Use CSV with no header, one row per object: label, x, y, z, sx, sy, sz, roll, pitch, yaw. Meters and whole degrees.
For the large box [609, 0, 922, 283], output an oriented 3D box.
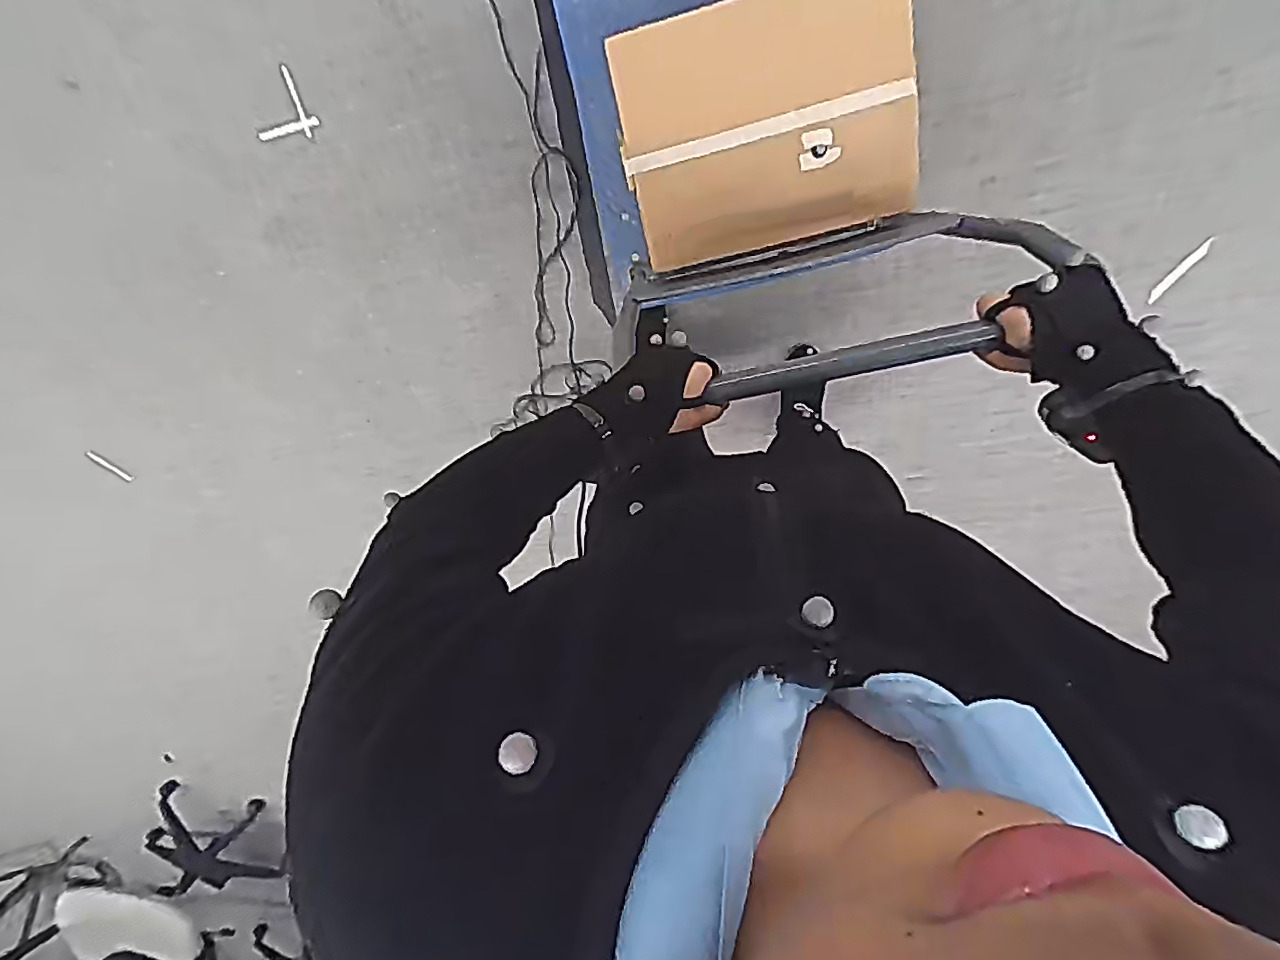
large box,0.190,-0.545,0.898,0.408,0.320,0.320,-12,114,8
